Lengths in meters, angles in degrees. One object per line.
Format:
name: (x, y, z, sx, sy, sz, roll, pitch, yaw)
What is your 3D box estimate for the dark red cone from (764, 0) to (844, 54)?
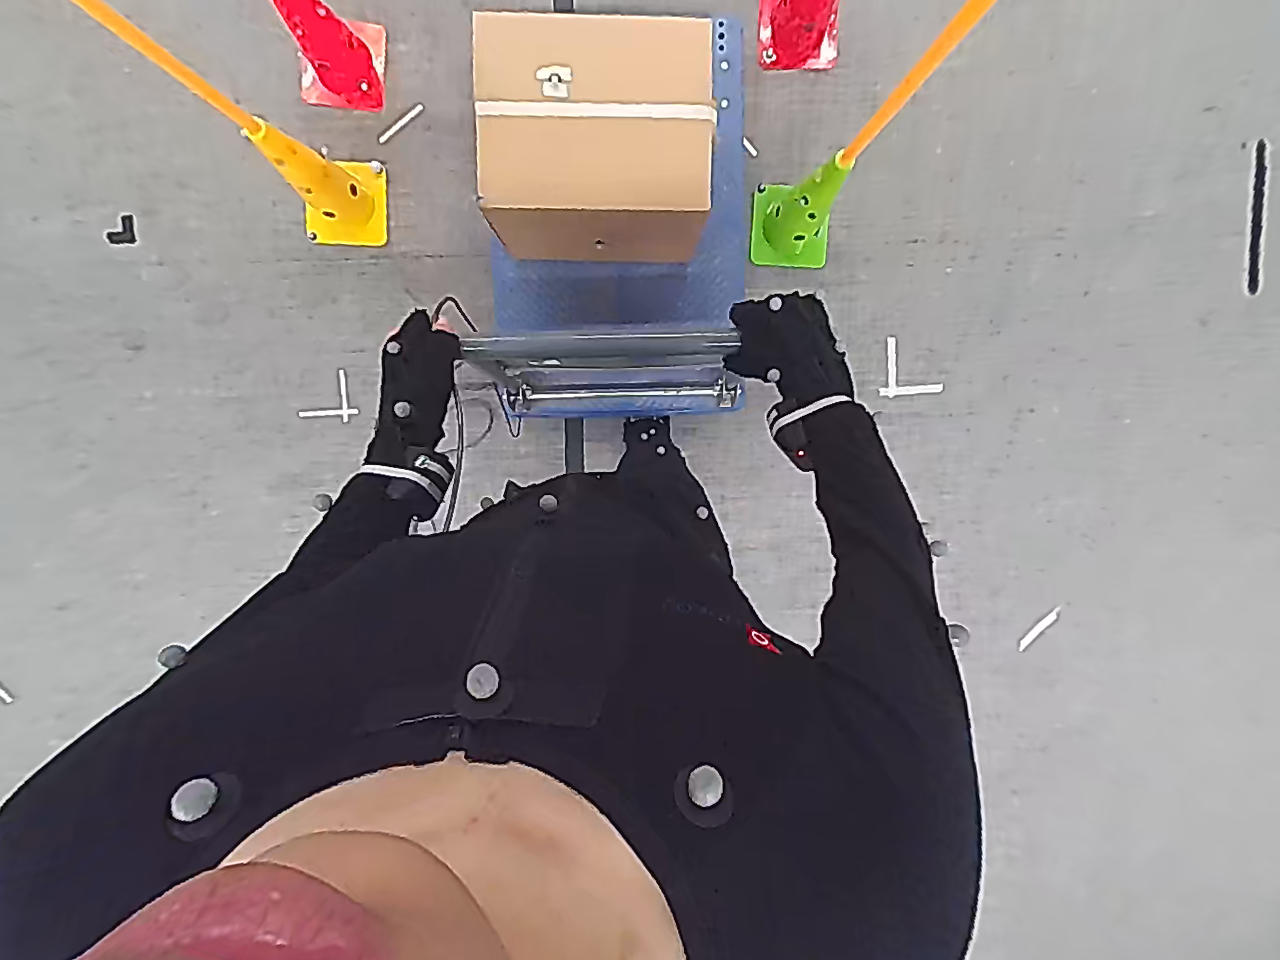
dark red cone: (0.410, -1.133, 1.162, 0.201, 0.394, 0.202, -2, 97, -3)

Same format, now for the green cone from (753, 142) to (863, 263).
green cone: (0.402, -0.652, 1.230, 0.202, 0.368, 0.200, 2, 96, -3)

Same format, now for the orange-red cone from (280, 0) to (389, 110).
orange-red cone: (-0.718, -1.014, 1.165, 0.198, 0.360, 0.199, 6, 95, -3)

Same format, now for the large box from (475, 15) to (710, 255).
large box: (-0.079, -0.646, 1.073, 0.408, 0.320, 0.320, 0, 96, -1)
